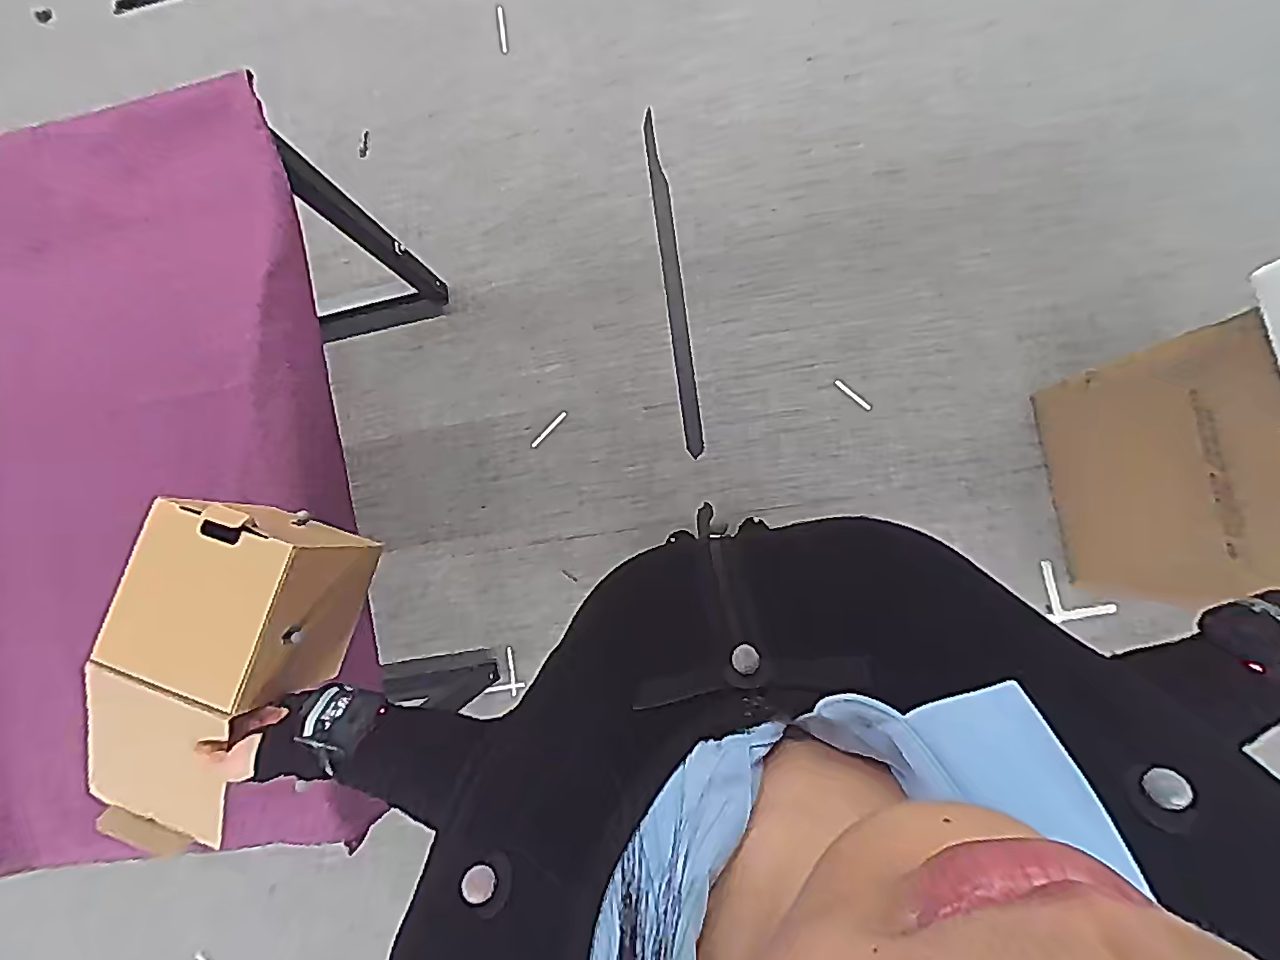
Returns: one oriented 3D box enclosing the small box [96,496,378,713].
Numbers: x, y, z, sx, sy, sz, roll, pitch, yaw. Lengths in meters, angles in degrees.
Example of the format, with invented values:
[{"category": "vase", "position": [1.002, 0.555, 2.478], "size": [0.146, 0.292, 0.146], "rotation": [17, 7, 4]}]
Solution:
[{"category": "small box", "position": [-0.438, 0.132, 0.621], "size": [0.168, 0.176, 0.179], "rotation": [17, 84, 6]}]
